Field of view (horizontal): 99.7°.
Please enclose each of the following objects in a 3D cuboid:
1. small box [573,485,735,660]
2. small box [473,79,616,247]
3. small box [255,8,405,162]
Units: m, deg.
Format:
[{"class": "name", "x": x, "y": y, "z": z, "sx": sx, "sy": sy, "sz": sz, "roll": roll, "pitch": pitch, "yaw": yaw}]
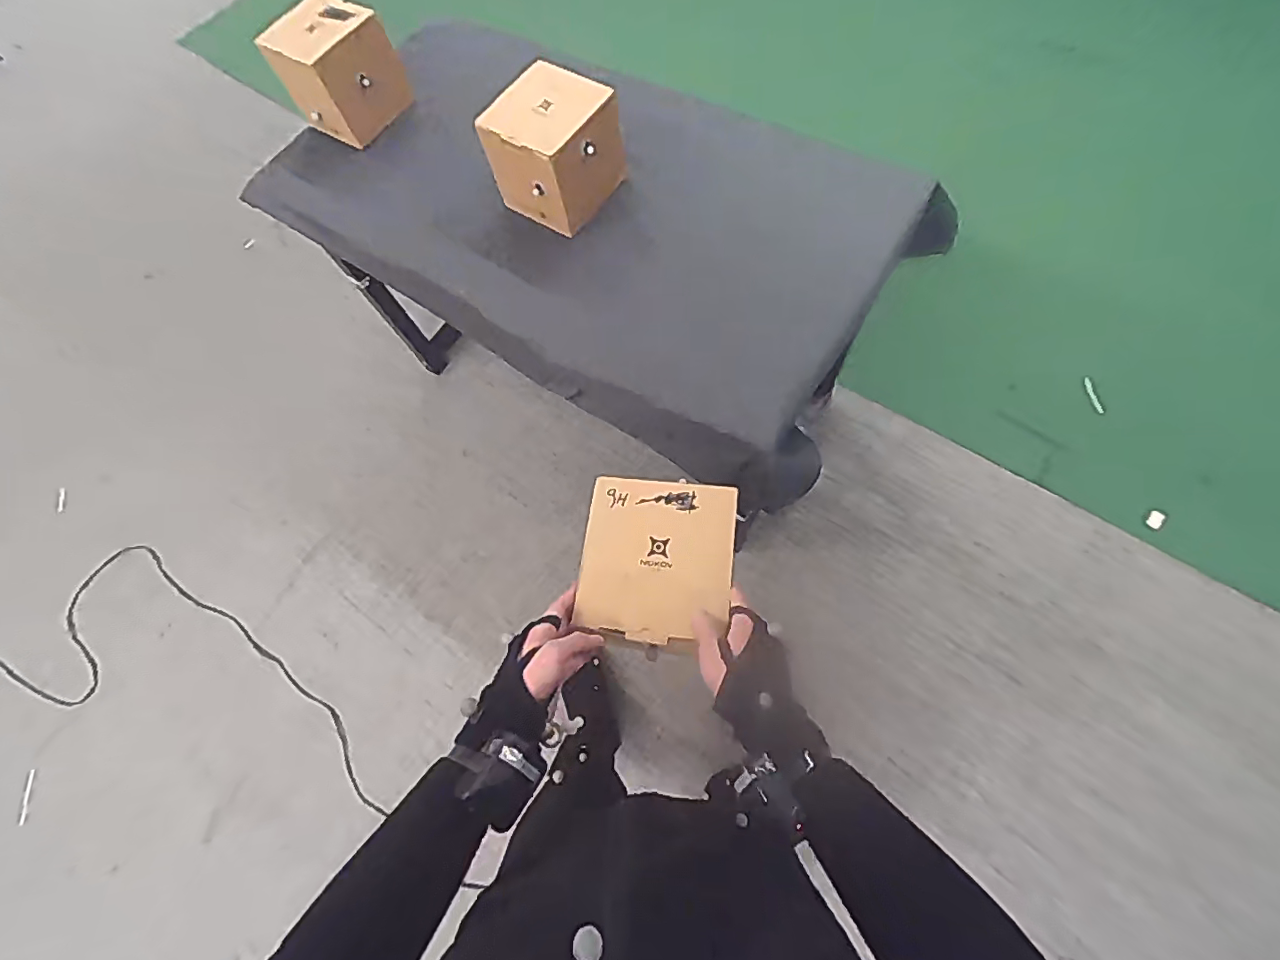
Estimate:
[{"class": "small box", "x": 0.027, "y": 0.122, "z": 0.670, "sx": 0.168, "sy": 0.176, "sz": 0.179, "roll": 4, "pitch": 69, "yaw": 8}, {"class": "small box", "x": -0.157, "y": -0.557, "z": 0.965, "sx": 0.168, "sy": 0.176, "sz": 0.179, "roll": 32, "pitch": 74, "yaw": 15}, {"class": "small box", "x": -0.613, "y": -0.797, "z": 1.099, "sx": 0.168, "sy": 0.176, "sz": 0.179, "roll": 30, "pitch": 75, "yaw": 16}]
